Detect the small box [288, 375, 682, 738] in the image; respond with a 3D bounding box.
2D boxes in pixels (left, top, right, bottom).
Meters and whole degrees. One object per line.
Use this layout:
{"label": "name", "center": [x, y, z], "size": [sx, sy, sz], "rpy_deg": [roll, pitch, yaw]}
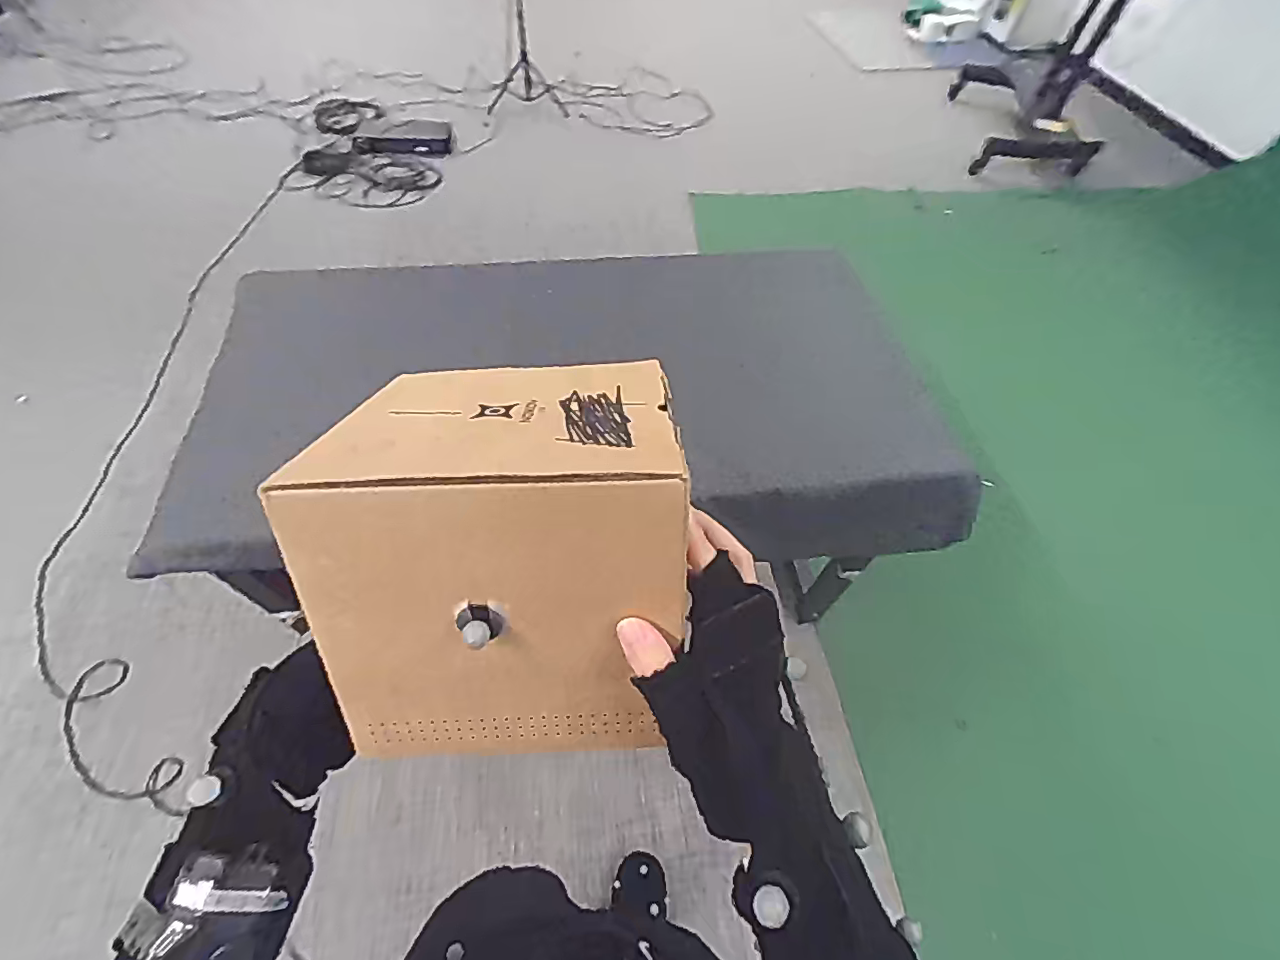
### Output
{"label": "small box", "center": [-0.071, 0.039, 0.345], "size": [0.179, 0.176, 0.168], "rpy_deg": [-2, 26, -2]}
